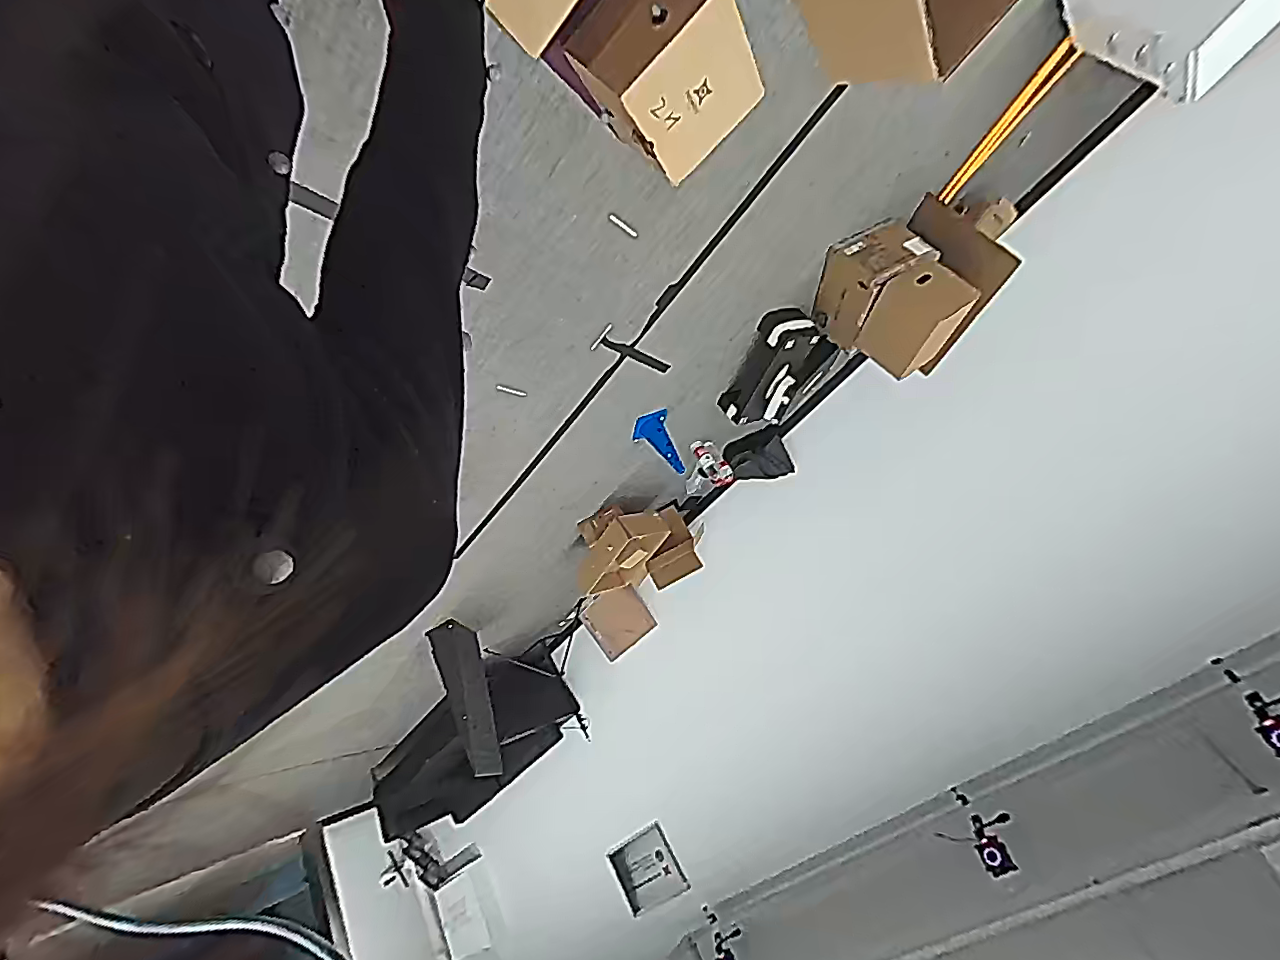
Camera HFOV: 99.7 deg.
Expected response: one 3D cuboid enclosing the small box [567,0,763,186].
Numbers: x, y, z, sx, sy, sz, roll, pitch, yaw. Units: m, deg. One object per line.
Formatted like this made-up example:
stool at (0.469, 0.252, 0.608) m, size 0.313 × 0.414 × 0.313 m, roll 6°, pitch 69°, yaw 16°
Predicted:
small box at (0.032, -0.561, 0.741) m, size 0.179 × 0.176 × 0.168 m, roll -41°, pitch 152°, yaw 14°
